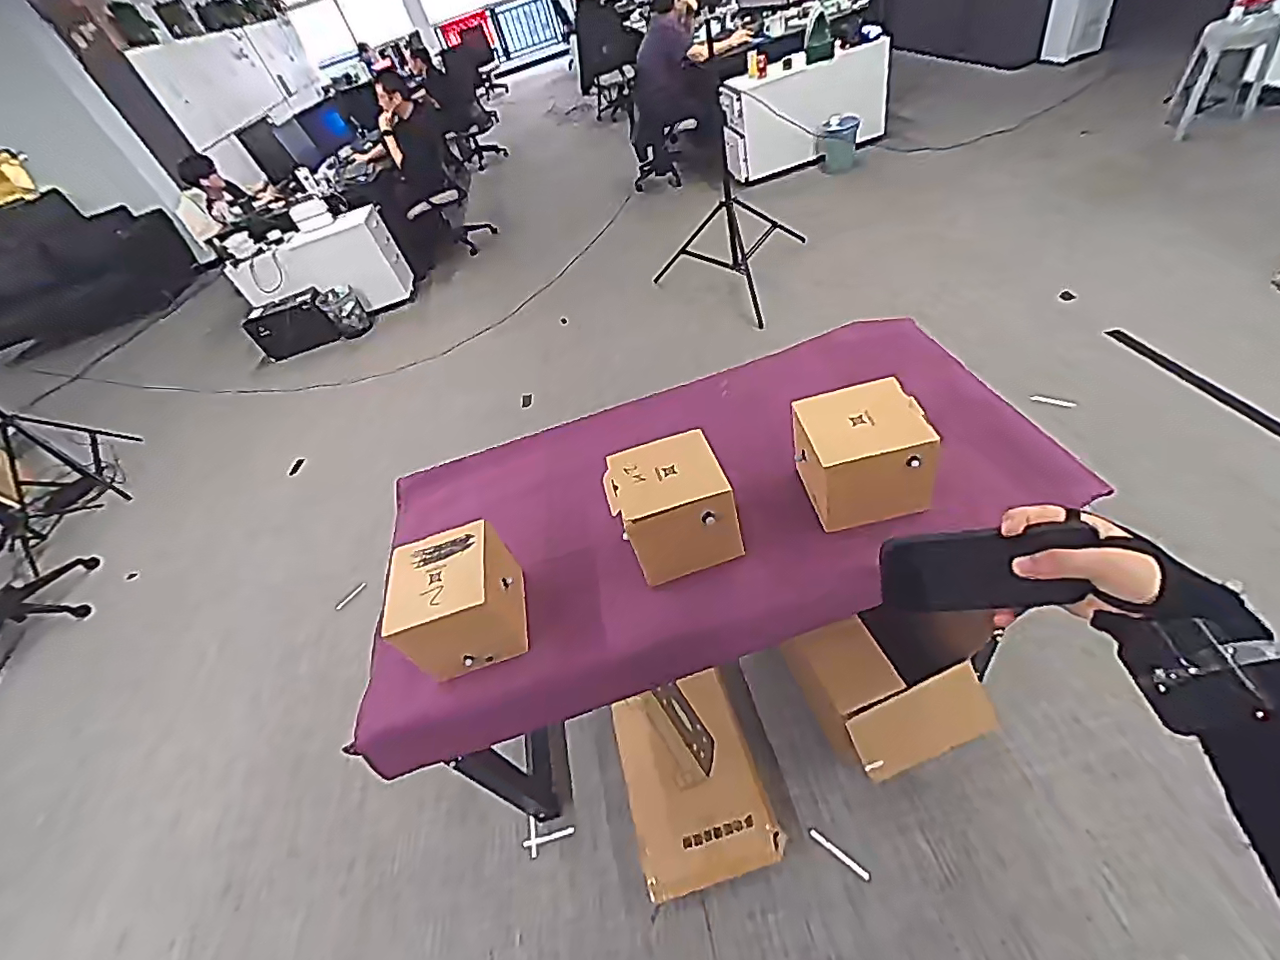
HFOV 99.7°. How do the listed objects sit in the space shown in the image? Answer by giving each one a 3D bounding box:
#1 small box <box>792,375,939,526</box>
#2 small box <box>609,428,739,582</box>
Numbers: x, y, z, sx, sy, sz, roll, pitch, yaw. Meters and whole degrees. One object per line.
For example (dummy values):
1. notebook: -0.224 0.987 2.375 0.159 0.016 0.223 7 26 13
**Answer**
1. small box: 0.368 -0.044 0.907 0.179 0.176 0.168 -14 45 6
2. small box: 0.063 0.044 0.927 0.179 0.176 0.168 -19 42 1
